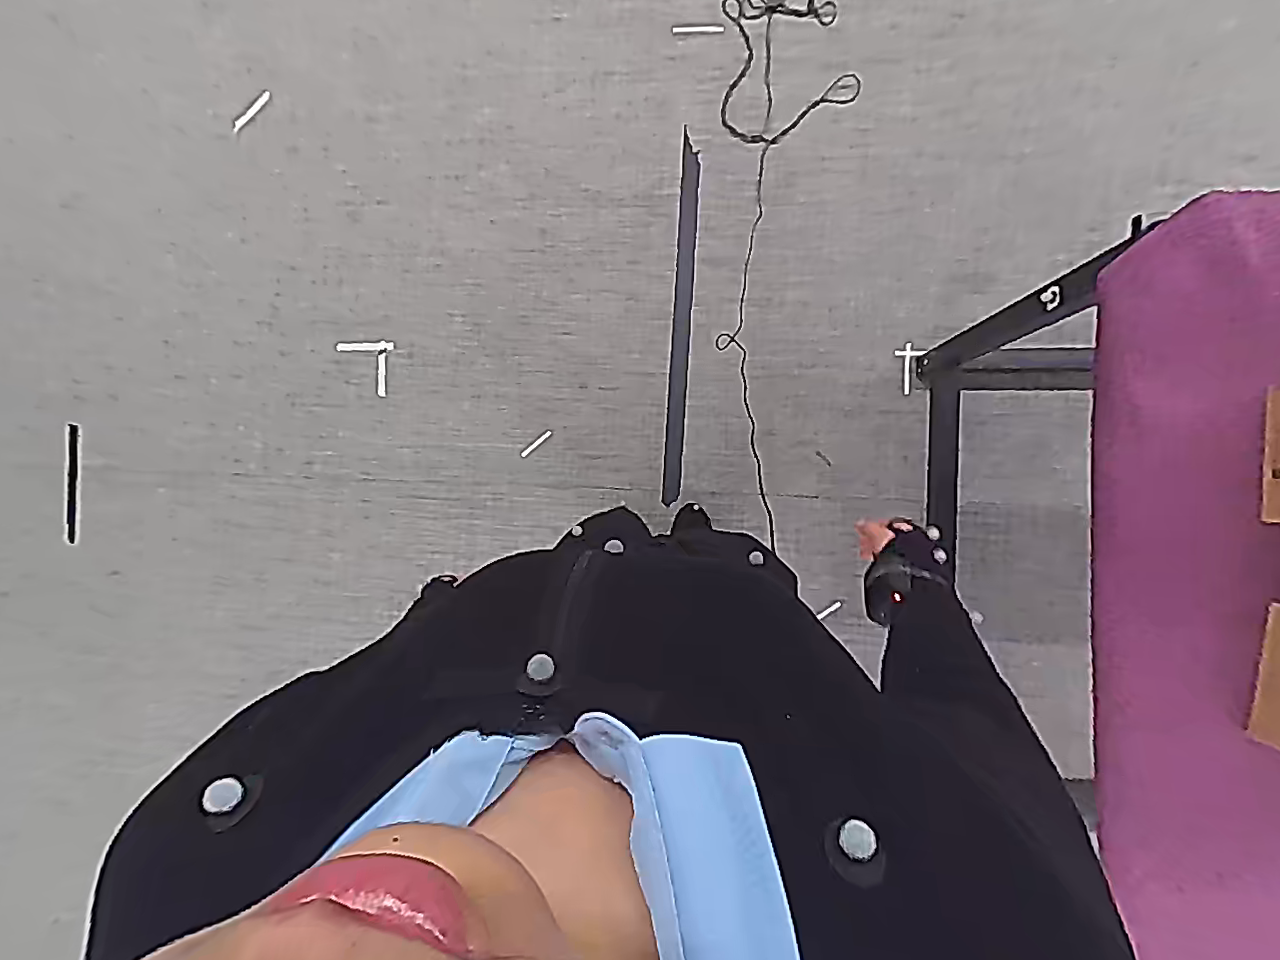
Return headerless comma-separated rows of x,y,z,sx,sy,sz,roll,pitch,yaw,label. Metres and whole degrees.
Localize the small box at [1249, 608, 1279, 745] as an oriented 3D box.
0.852,0.252,0.598,0.168,0.176,0.179,10,91,5,small box
